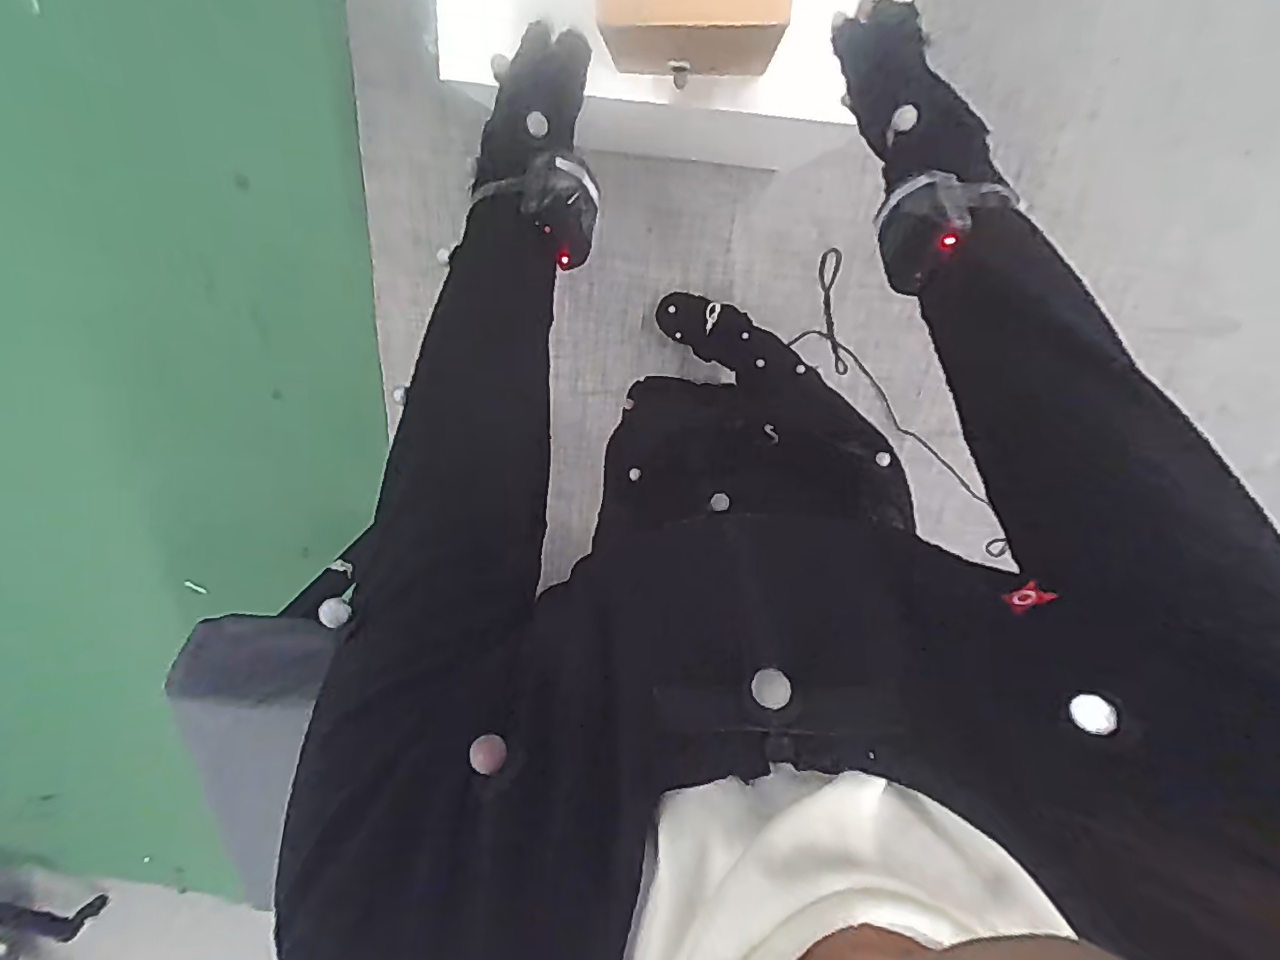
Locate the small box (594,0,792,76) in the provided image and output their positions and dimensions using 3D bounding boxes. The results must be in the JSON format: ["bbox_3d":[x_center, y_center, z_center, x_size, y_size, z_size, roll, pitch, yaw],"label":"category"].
[{"bbox_3d":[0.052,-0.493,0.488,0.168,0.176,0.179,3,116,6],"label":"small box"}]
